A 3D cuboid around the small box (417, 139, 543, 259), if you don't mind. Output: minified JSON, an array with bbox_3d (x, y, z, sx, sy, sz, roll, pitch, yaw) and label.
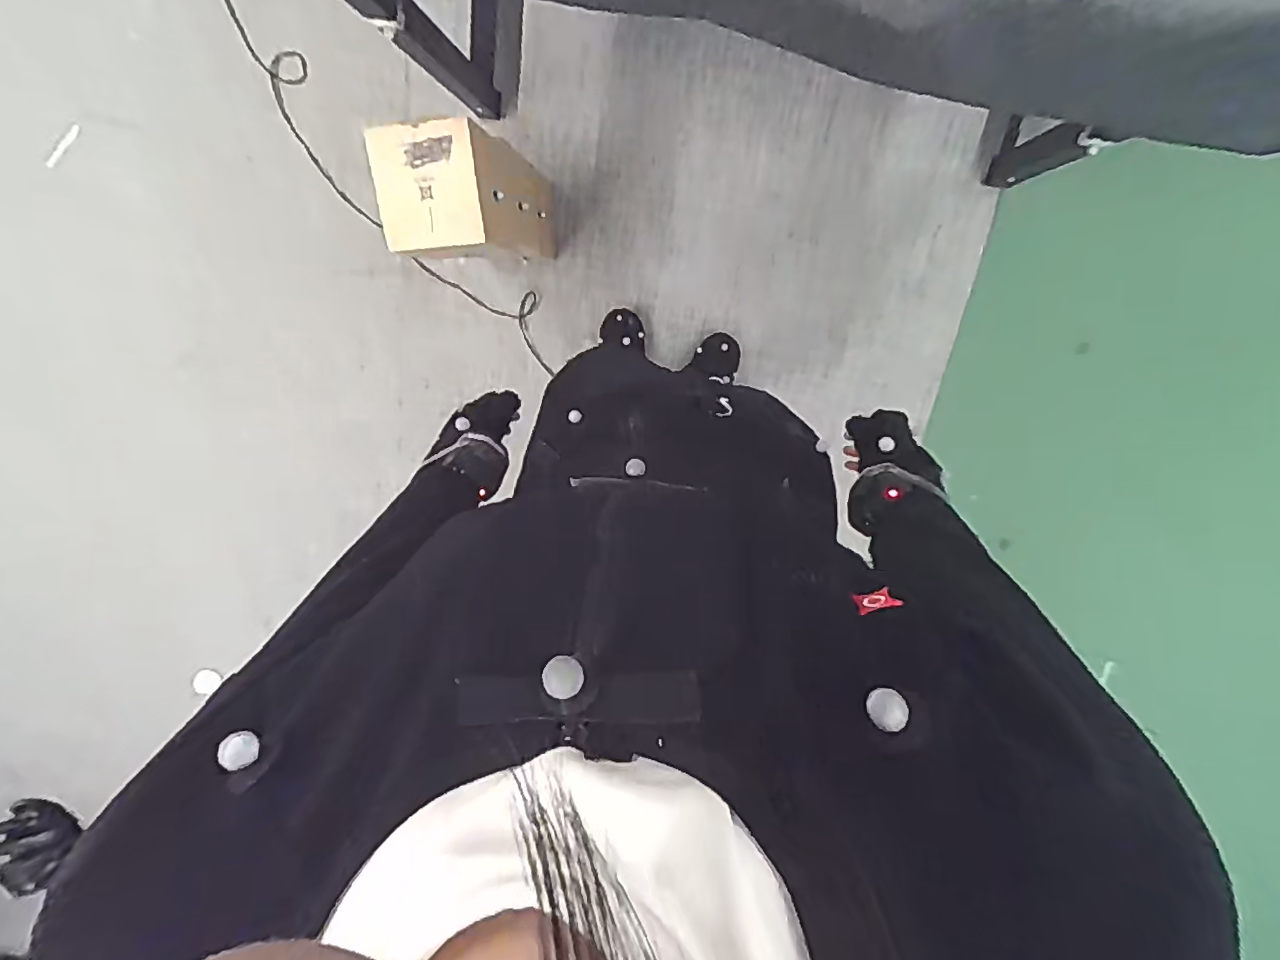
[{"bbox_3d":[-0.303,-0.538,1.063,0.168,0.176,0.179,-5,106,10],"label":"small box"}]
